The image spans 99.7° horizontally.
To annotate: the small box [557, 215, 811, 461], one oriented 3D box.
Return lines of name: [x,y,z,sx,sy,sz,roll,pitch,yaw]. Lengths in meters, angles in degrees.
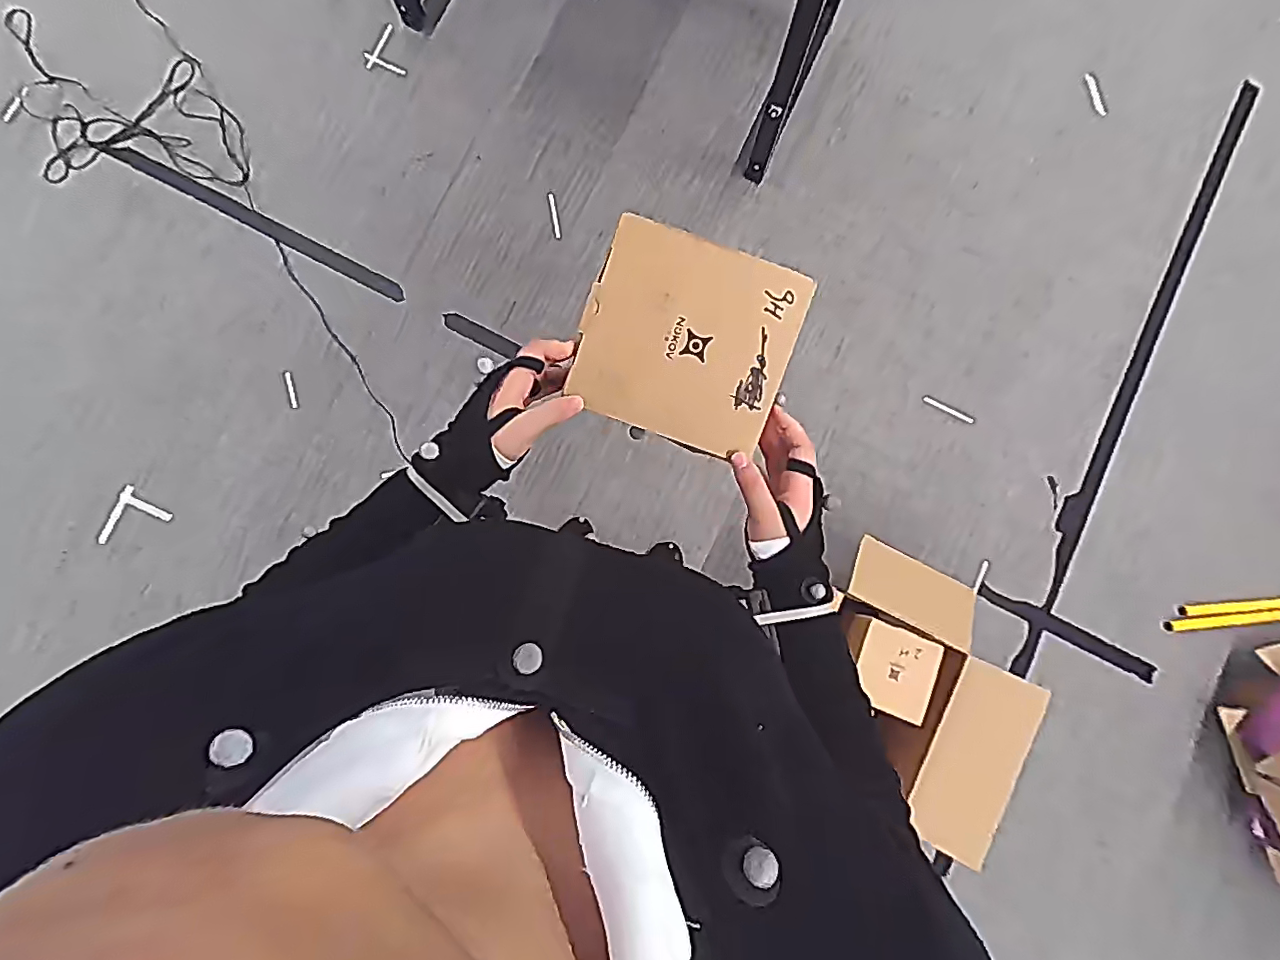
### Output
small box: [0.039,-0.126,0.538,0.179,0.176,0.168,20,96,0]
